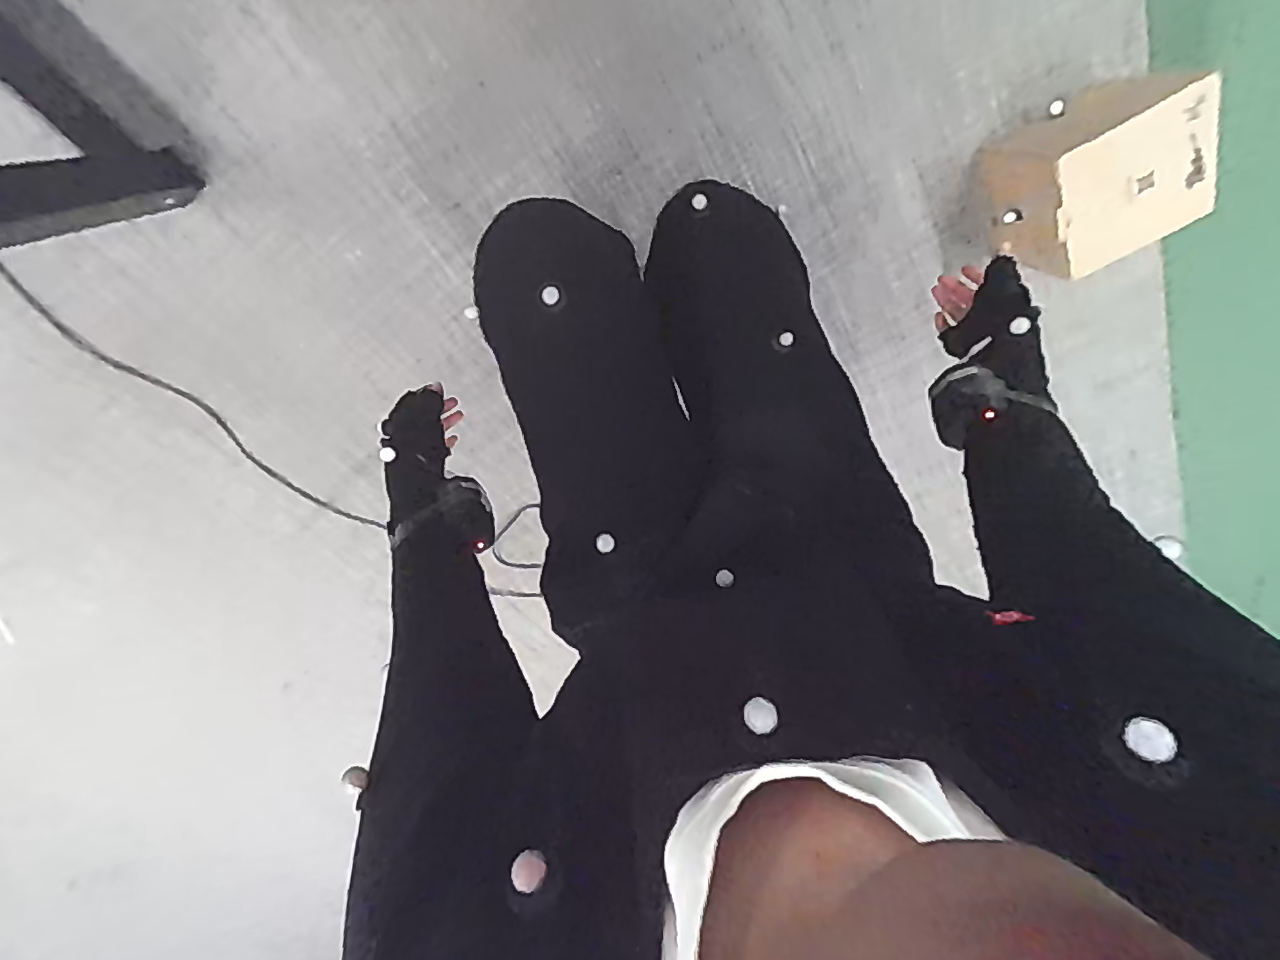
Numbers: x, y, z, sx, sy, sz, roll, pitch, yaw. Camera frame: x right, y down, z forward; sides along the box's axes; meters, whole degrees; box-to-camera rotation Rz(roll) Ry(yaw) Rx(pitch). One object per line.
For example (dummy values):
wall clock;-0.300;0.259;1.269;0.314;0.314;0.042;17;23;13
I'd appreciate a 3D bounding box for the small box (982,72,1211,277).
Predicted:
small box;0.592;-0.406;0.726;0.179;0.176;0.168;-25;122;14
